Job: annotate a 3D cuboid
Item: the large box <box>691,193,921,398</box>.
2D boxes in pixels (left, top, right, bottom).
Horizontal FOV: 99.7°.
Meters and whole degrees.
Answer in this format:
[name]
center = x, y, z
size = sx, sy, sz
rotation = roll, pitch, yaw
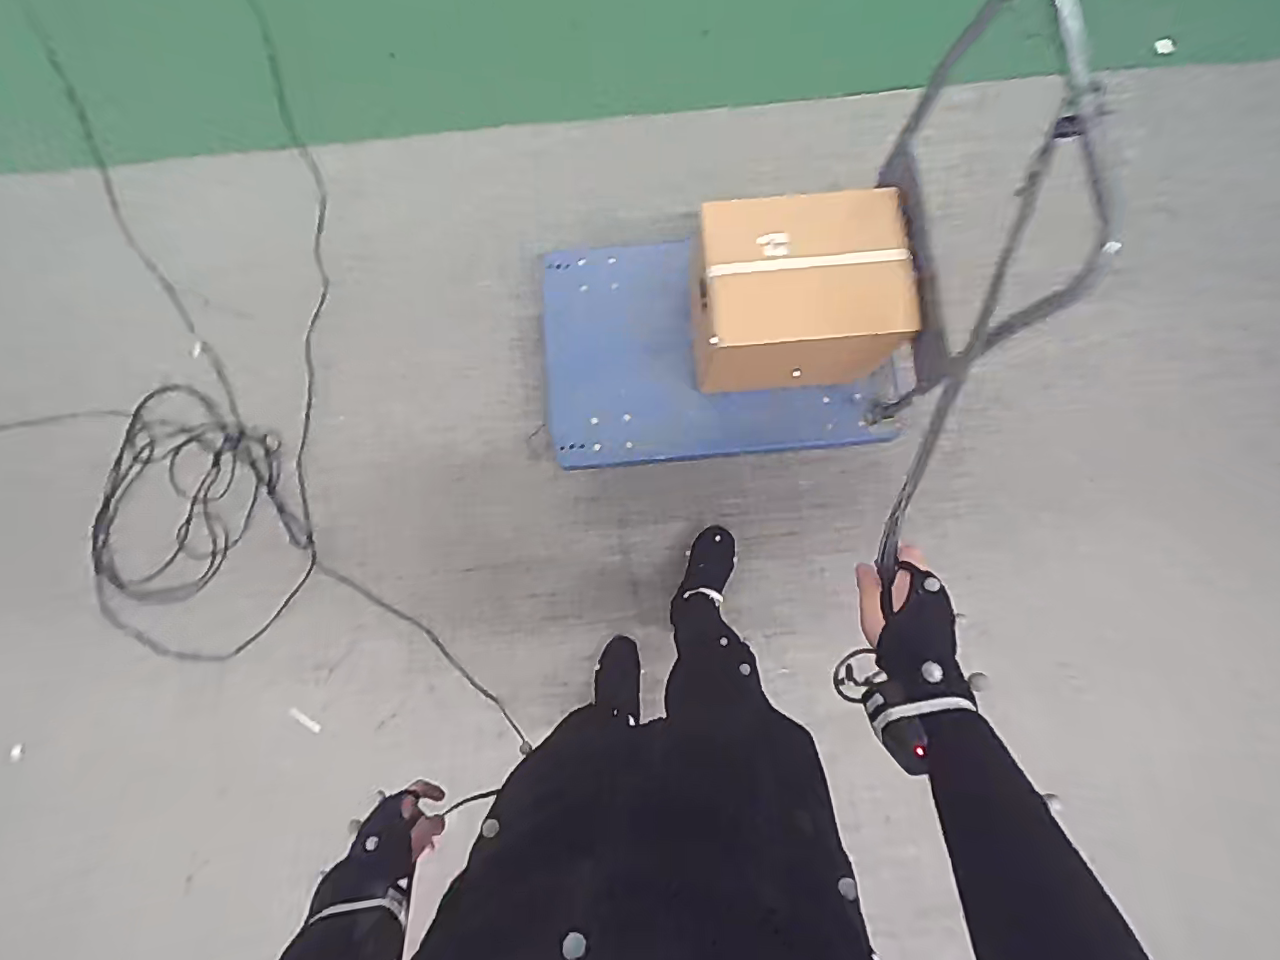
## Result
[large box]
center = 0.338, -0.388, 1.211
size = 0.408, 0.320, 0.320
rotation = -5, 81, 0
